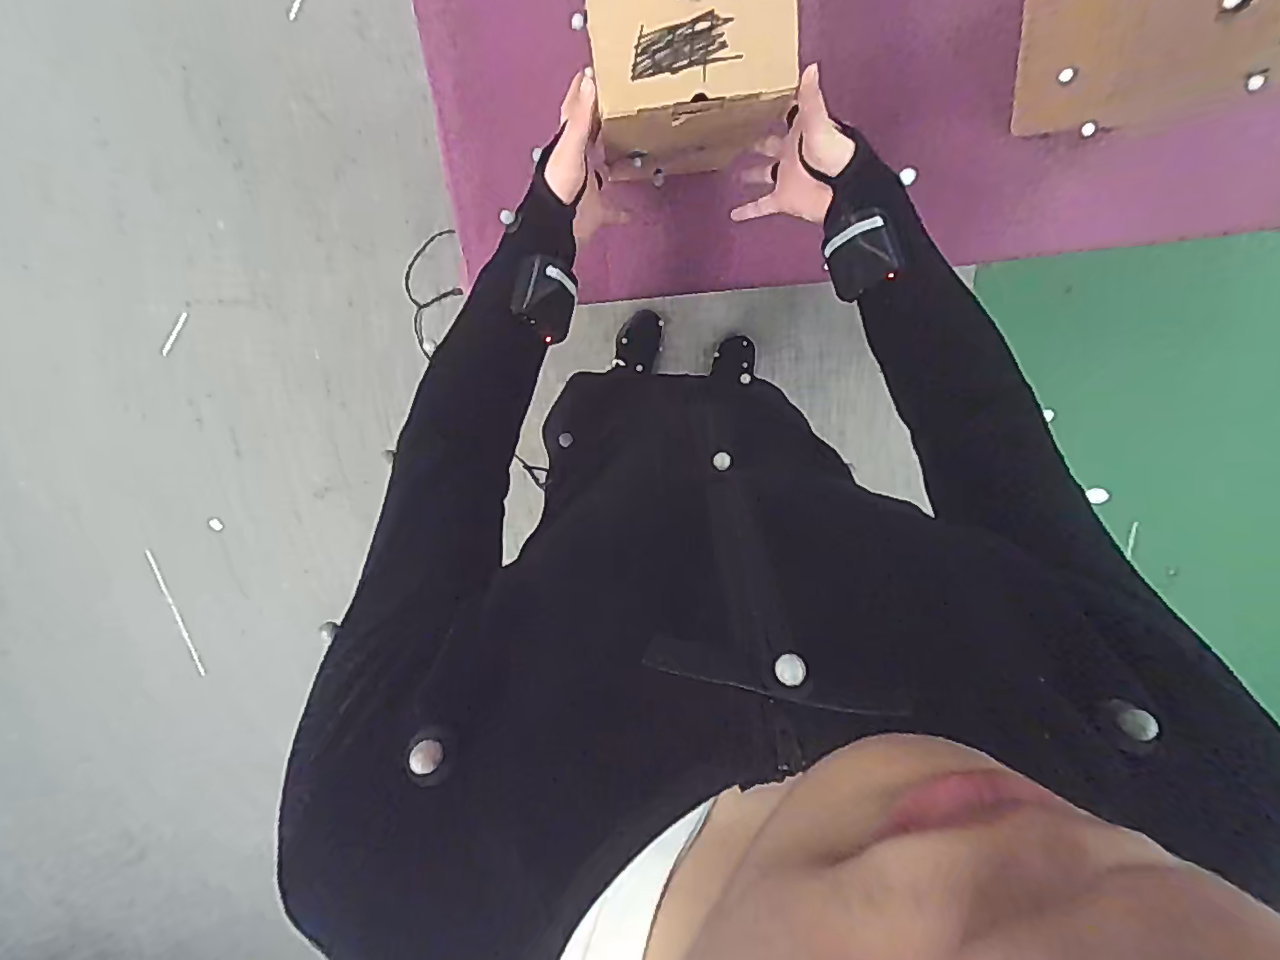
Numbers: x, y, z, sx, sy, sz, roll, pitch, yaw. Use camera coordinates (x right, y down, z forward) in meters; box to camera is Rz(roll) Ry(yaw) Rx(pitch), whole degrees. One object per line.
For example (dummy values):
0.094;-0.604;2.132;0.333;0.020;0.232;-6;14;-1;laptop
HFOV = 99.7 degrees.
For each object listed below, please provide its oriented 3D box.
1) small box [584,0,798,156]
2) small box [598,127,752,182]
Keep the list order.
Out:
0.035;-0.409;0.483;0.168;0.176;0.179;-7;108;0;small box
0.029;-0.470;0.635;0.168;0.176;0.179;-6;110;-1;small box
